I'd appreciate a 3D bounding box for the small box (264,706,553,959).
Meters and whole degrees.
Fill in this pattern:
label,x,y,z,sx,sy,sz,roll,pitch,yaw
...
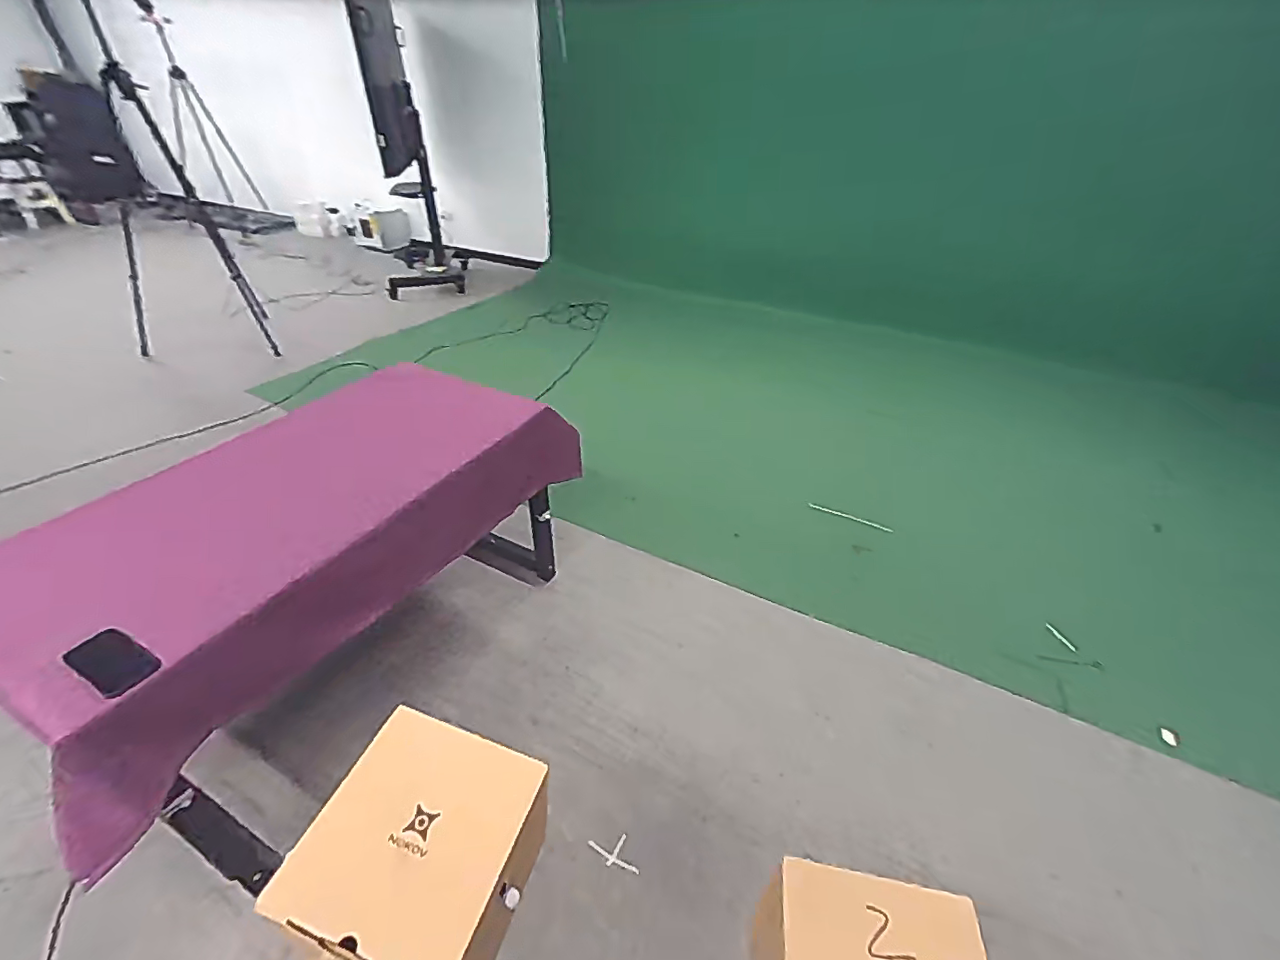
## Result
label,x,y,z,sx,sy,sz,roll,pitch,yaw
small box,-0.195,0.356,0.508,0.168,0.176,0.179,17,40,10
